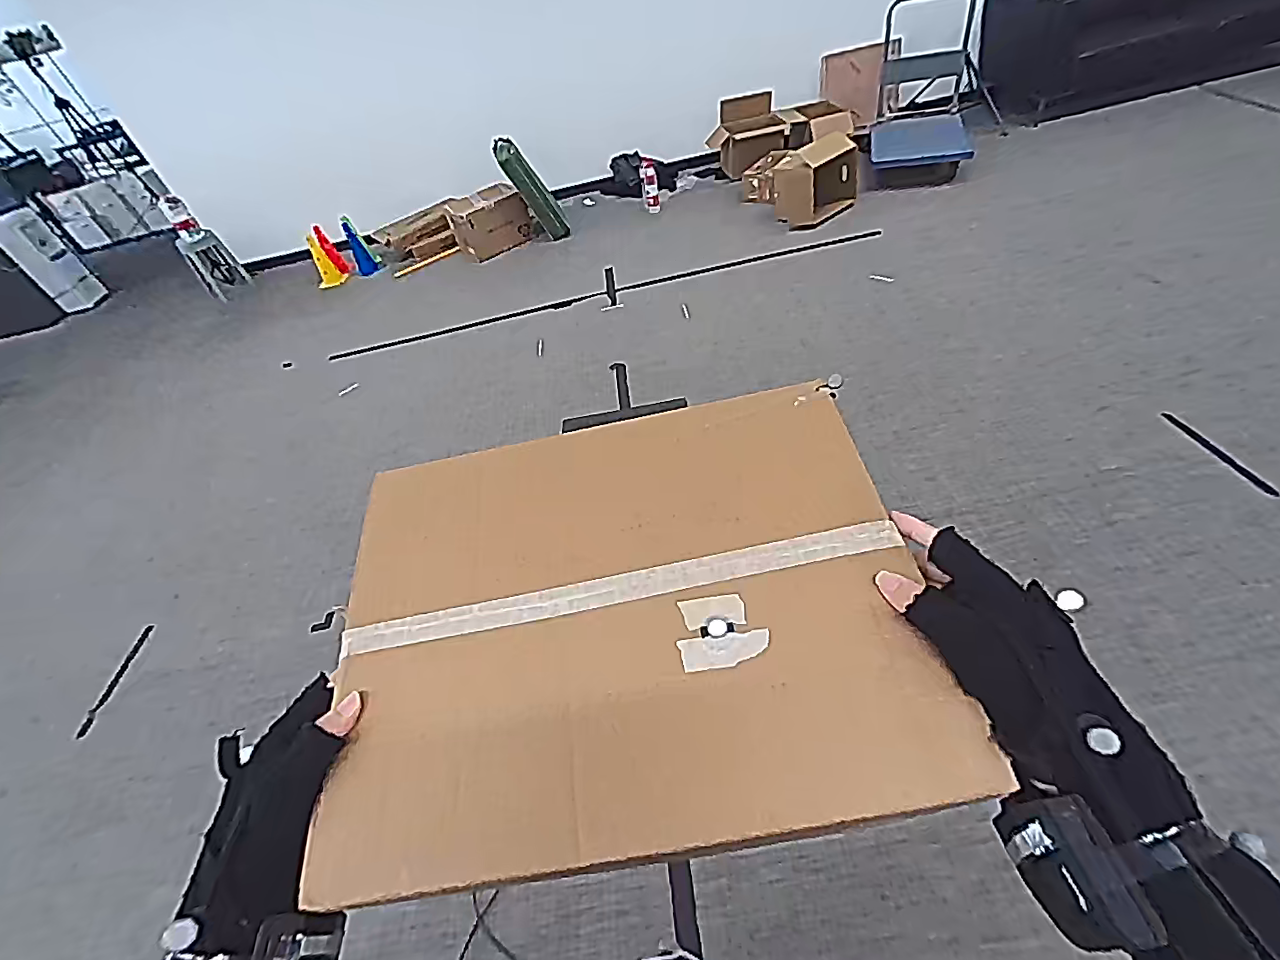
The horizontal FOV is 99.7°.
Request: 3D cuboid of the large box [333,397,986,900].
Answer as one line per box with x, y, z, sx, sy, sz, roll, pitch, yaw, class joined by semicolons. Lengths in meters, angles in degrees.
0.007;0.171;0.523;0.408;0.320;0.320;-12;55;2;large box
